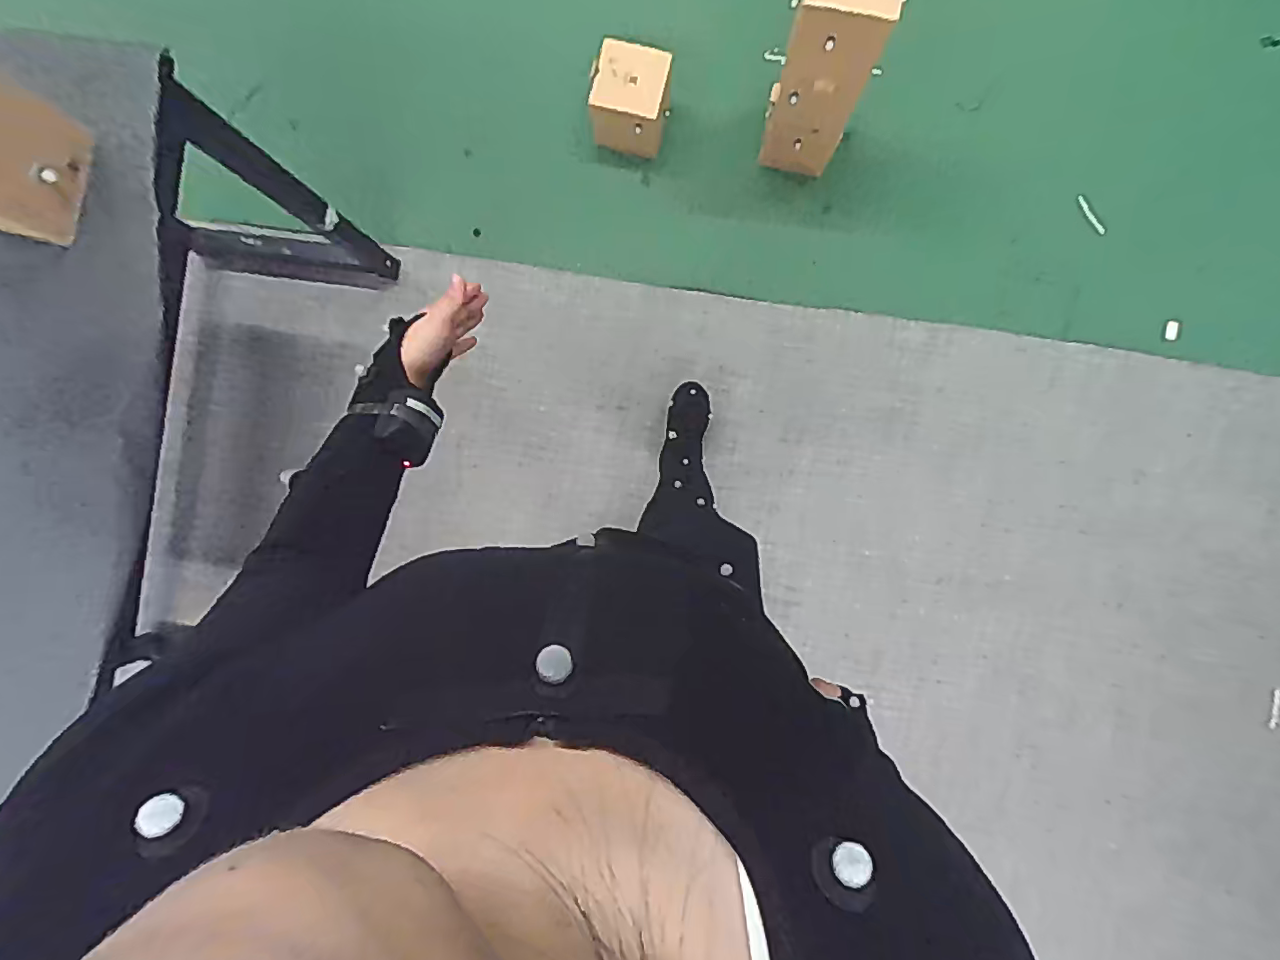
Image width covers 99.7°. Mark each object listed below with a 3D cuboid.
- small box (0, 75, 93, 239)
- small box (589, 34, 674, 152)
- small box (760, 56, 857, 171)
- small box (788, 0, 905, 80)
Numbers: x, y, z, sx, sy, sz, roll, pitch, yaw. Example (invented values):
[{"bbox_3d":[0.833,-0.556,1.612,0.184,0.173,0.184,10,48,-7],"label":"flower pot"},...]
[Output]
[{"bbox_3d":[-0.865,-0.428,0.677,0.179,0.176,0.168,14,92,3],"label":"small box"},{"bbox_3d":[-0.019,-0.974,1.378,0.179,0.176,0.168,15,91,2],"label":"small box"},{"bbox_3d":[0.420,-0.917,1.367,0.179,0.176,0.168,13,91,2],"label":"small box"},{"bbox_3d":[0.399,-0.916,1.040,0.179,0.176,0.168,12,91,2],"label":"small box"}]
